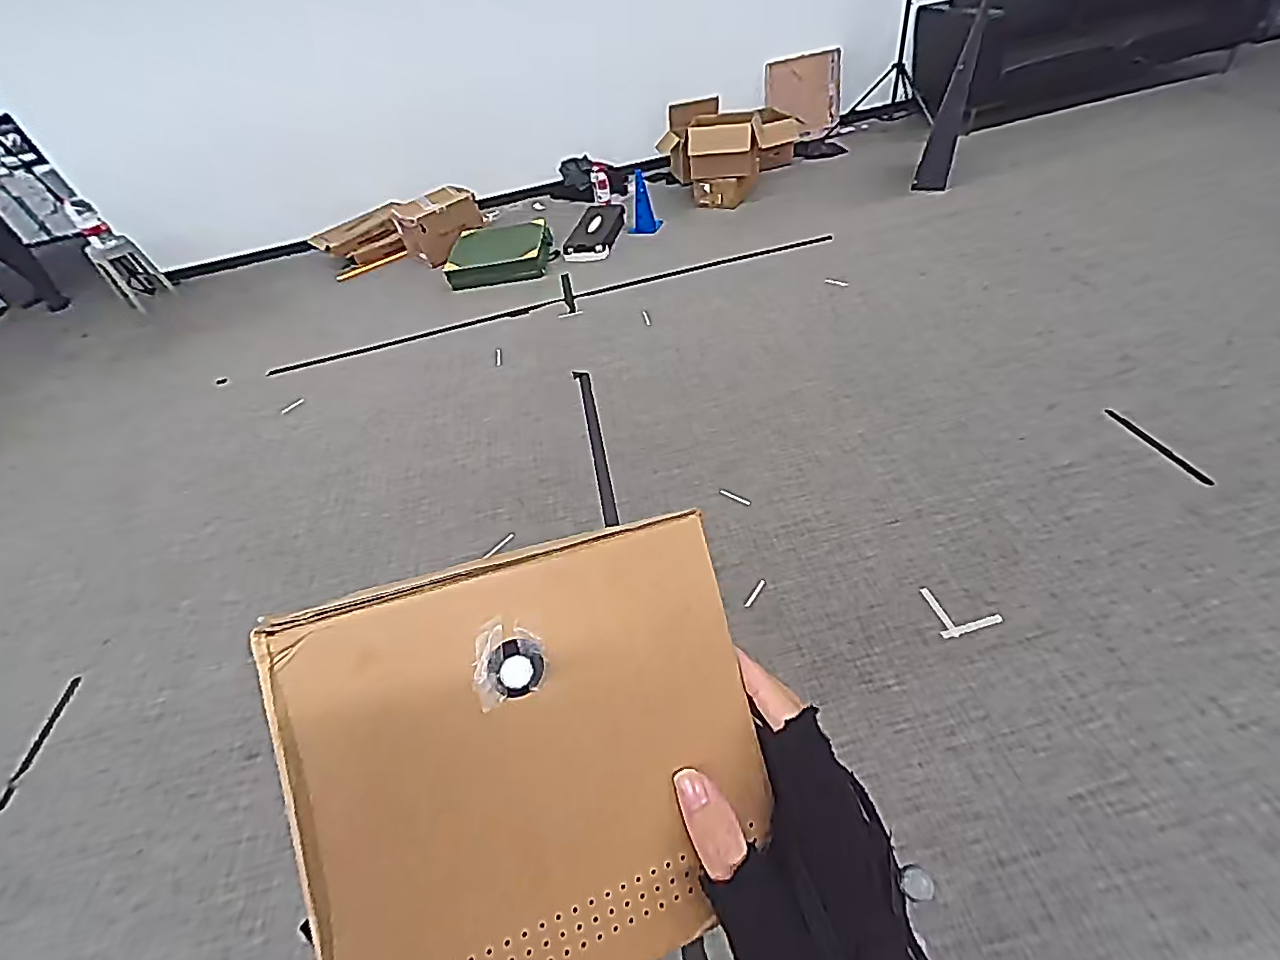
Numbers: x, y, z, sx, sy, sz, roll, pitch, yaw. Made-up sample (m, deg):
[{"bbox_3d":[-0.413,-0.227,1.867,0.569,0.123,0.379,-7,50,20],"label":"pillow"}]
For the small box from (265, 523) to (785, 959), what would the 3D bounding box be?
[{"bbox_3d":[-0.053,0.129,0.284,0.179,0.168,0.176,-13,87,-18],"label":"small box"}]
